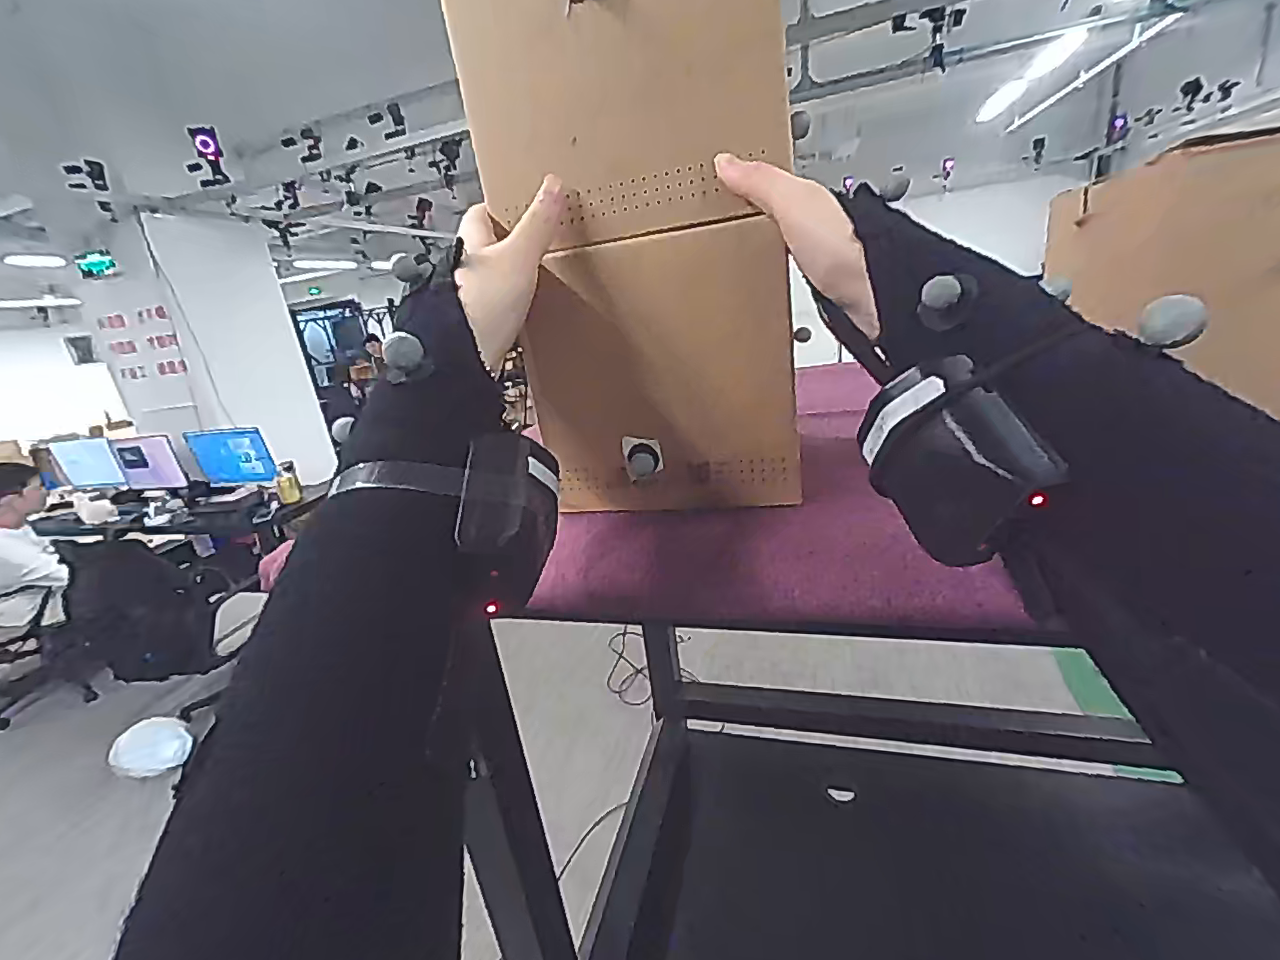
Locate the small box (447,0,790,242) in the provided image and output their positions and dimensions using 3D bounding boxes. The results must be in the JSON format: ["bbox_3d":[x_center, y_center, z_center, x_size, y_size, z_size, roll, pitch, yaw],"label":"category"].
[{"bbox_3d":[-0.003,-0.248,0.345,0.179,0.176,0.168,-4,19,14],"label":"small box"}]

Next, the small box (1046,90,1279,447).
[{"bbox_3d":[0.367,-0.119,0.317,0.179,0.176,0.168,-1,19,19],"label":"small box"}]

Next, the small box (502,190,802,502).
[{"bbox_3d":[0.026,-0.093,0.394,0.168,0.176,0.179,-4,20,15],"label":"small box"}]
